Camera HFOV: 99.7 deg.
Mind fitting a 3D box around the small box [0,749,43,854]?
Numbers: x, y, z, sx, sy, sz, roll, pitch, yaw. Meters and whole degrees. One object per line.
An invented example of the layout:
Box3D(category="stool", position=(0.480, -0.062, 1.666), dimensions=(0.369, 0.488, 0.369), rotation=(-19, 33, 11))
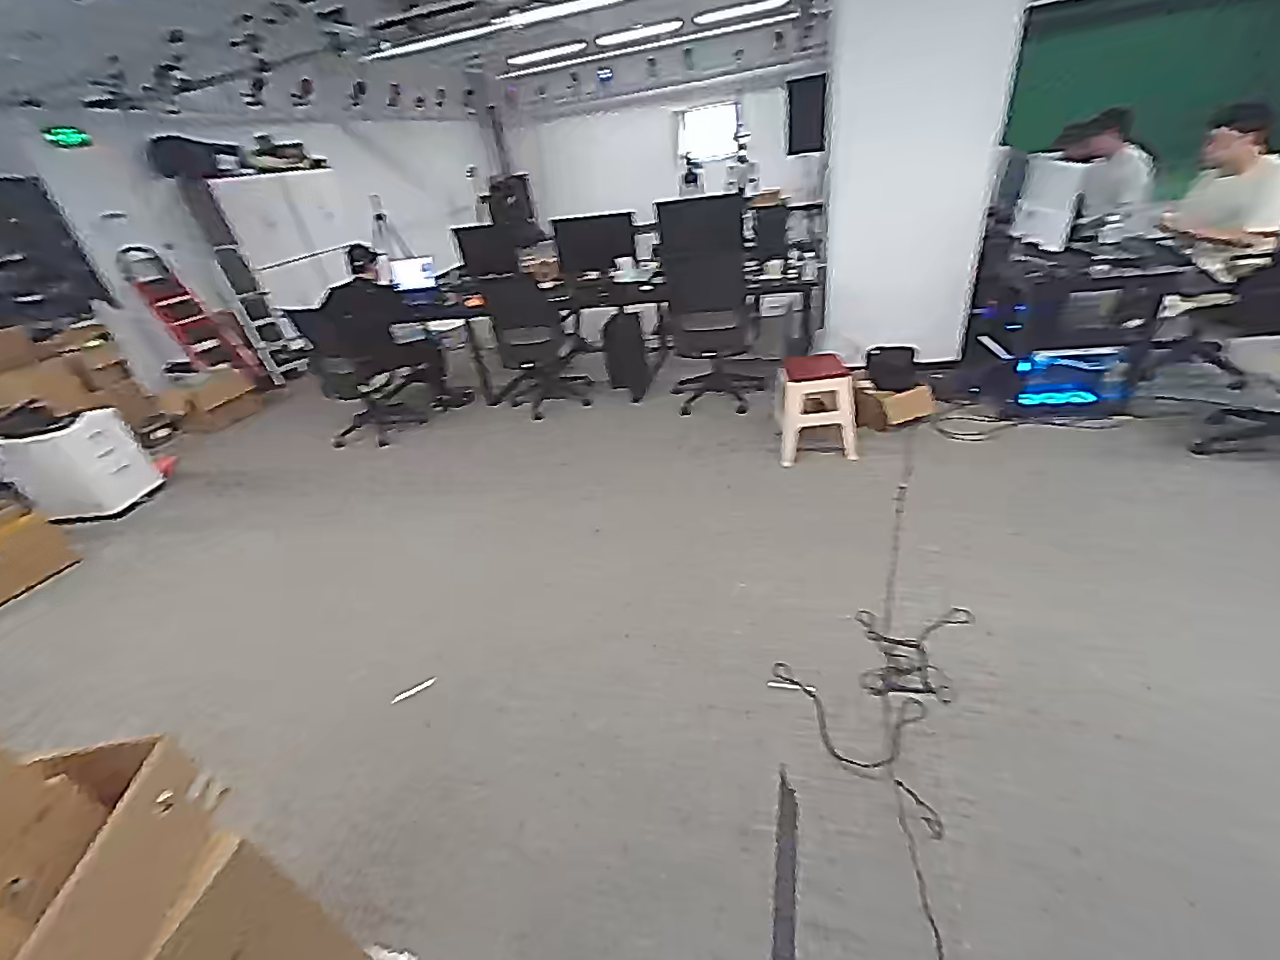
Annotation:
Box3D(category="small box", position=(-0.982, 0.462, 0.725), dimensions=(0.168, 0.176, 0.179), rotation=(-3, 33, 9))
